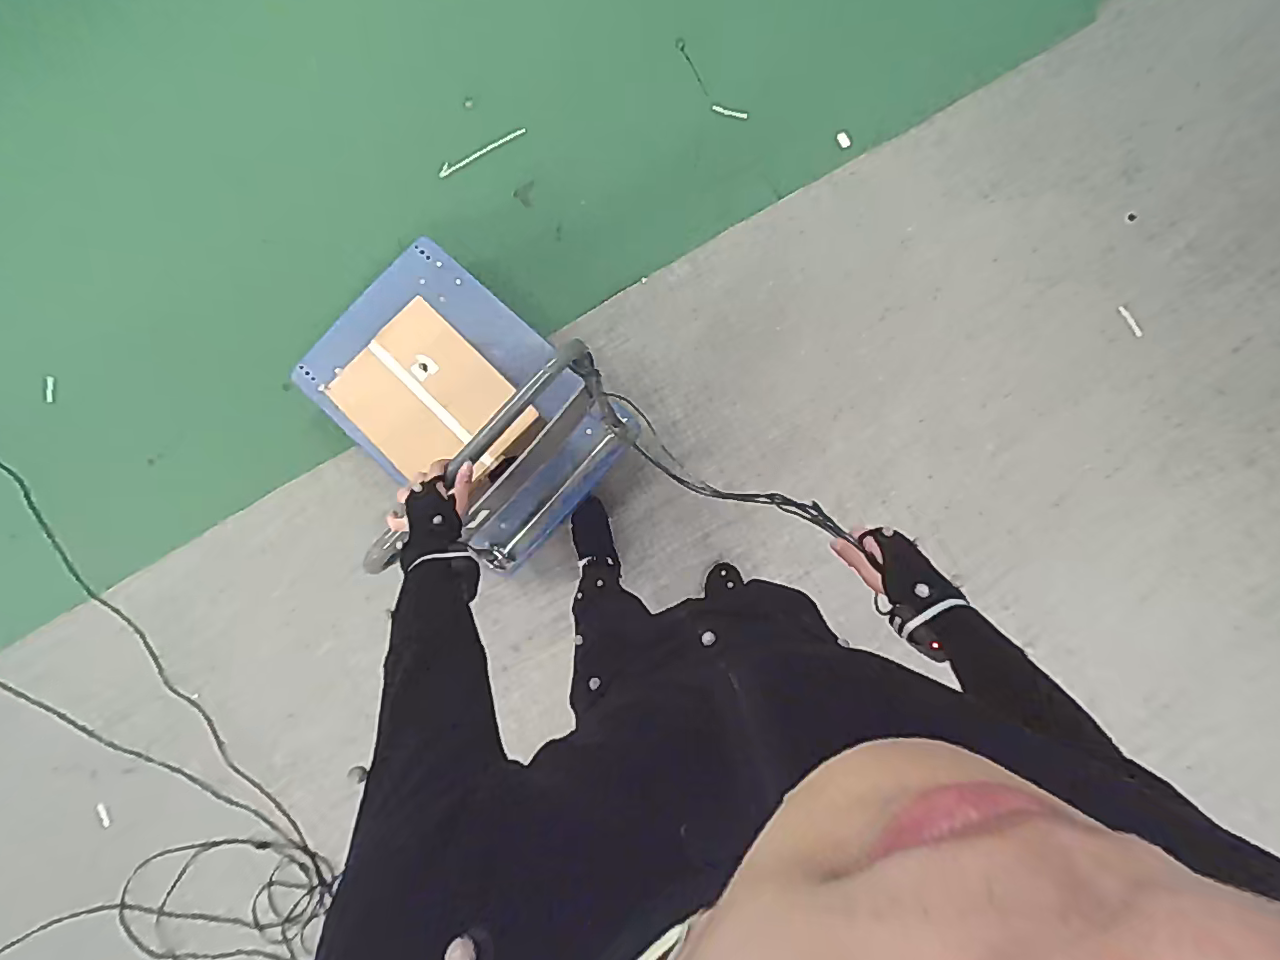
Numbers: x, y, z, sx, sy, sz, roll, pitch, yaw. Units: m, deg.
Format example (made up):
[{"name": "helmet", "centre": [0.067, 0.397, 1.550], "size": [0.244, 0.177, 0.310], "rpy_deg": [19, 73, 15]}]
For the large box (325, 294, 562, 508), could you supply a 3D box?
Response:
[{"name": "large box", "centre": [-0.465, -0.174, 1.363], "size": [0.408, 0.320, 0.320], "rpy_deg": [44, 88, 6]}]
